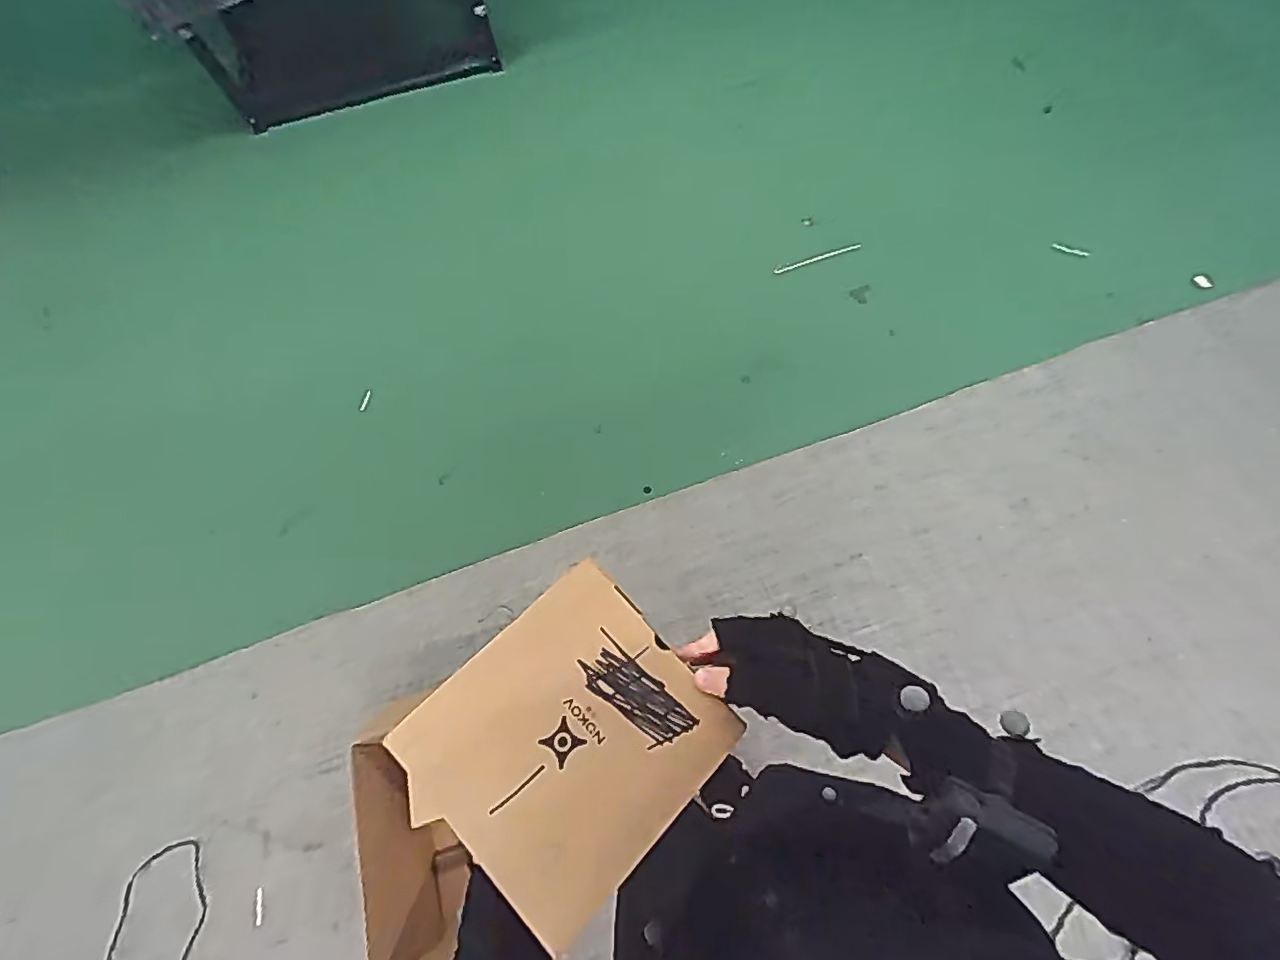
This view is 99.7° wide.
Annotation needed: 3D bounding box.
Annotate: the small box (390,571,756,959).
[{"bbox_3d":[-0.049,0.198,0.415,0.179,0.176,0.168,-40,79,-19],"label":"small box"}]
